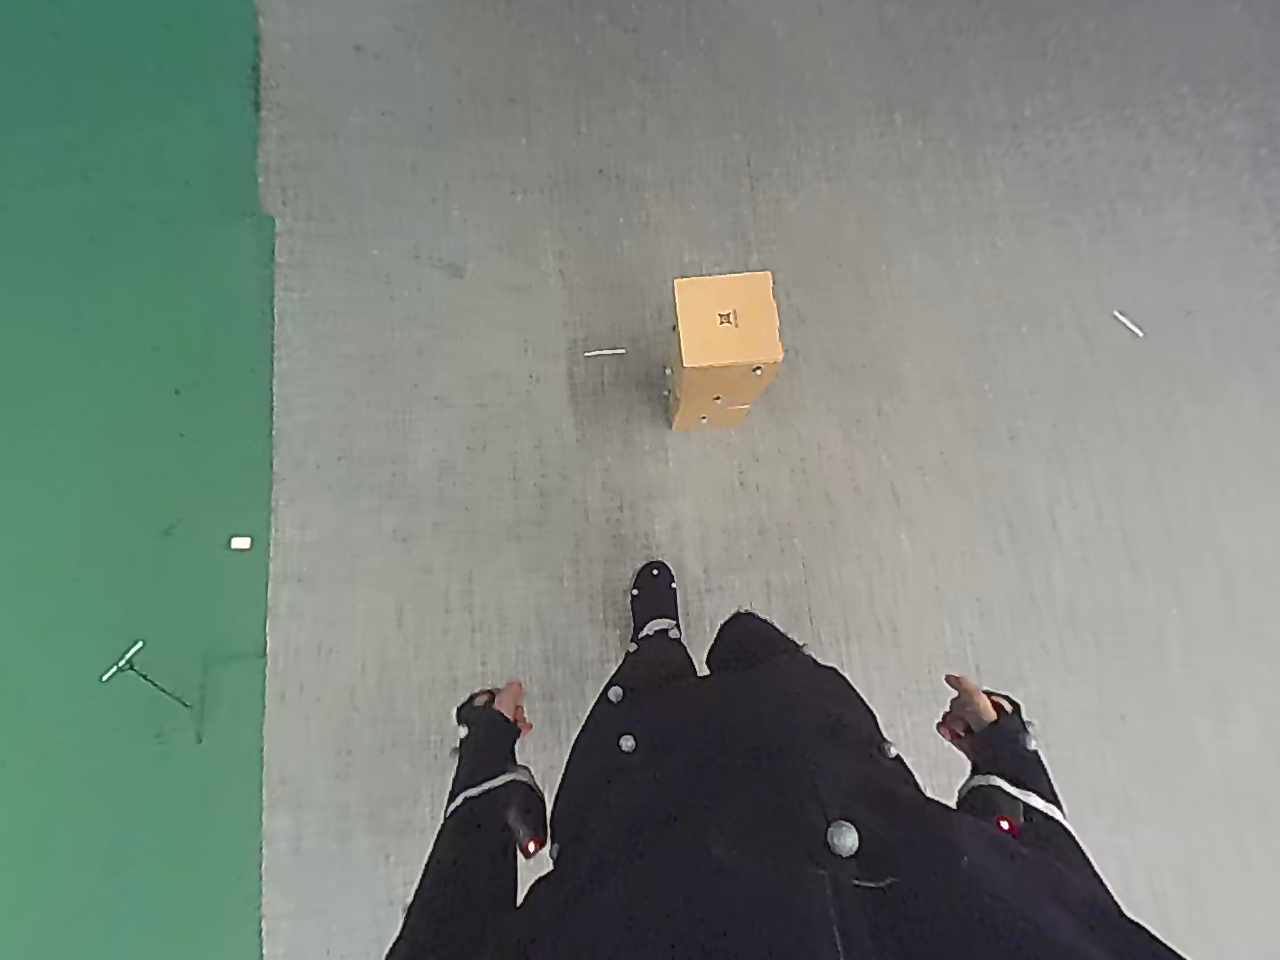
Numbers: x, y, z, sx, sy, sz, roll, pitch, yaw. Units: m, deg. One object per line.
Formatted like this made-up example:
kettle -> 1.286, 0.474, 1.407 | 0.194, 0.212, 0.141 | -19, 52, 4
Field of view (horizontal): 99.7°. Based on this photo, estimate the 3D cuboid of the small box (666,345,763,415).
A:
small box -> 0.157, -0.251, 1.195 | 0.179, 0.176, 0.168 | -8, 80, 0

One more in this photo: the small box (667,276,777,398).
small box -> 0.146, -0.264, 1.032 | 0.179, 0.176, 0.168 | -6, 81, -2
